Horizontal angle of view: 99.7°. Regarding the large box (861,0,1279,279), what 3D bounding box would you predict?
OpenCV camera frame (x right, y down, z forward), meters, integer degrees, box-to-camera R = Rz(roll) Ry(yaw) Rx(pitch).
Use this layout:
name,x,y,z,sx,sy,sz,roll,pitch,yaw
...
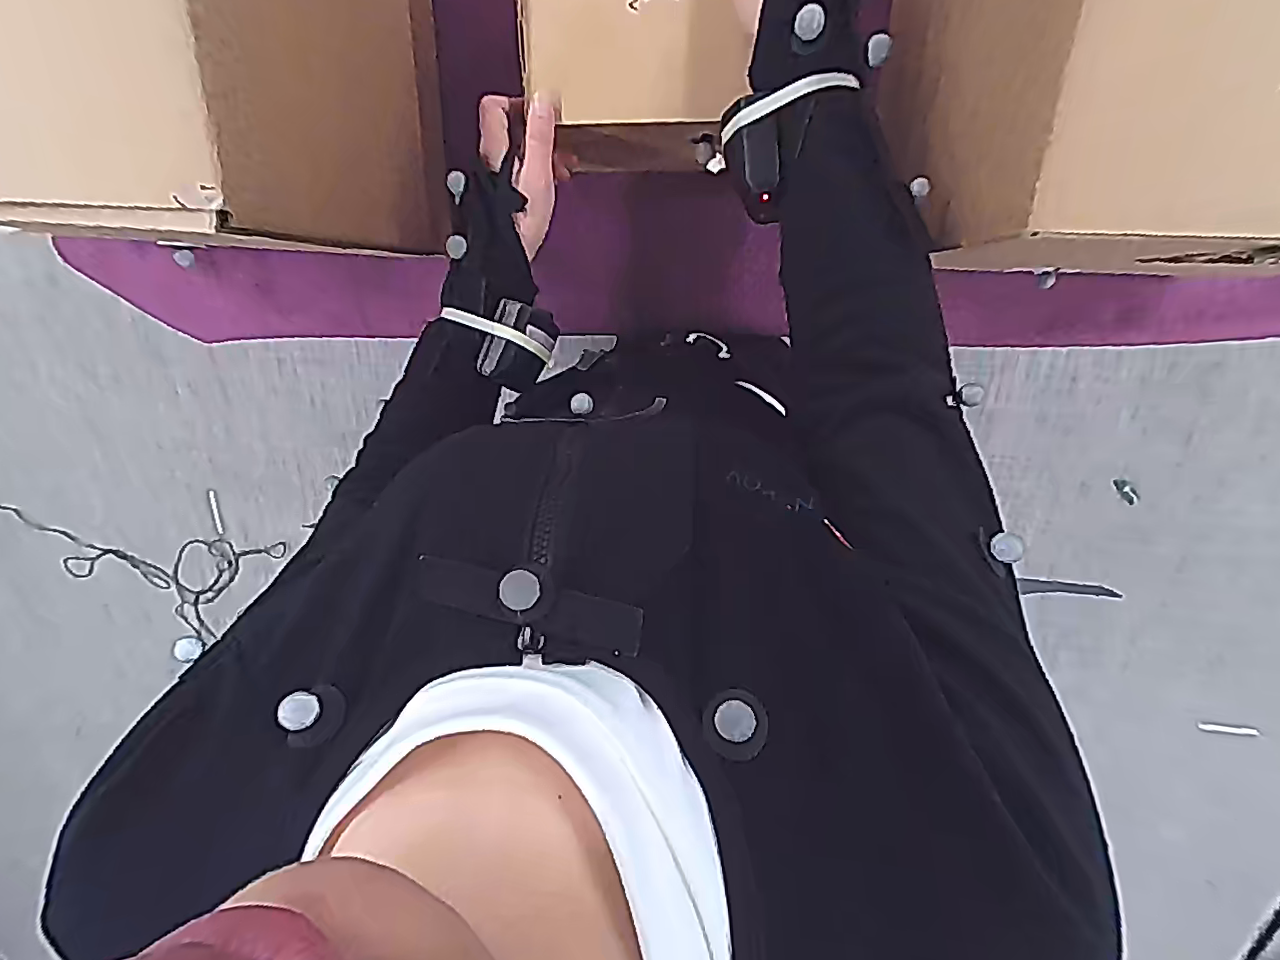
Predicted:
name,x,y,z,sx,sy,sz,roll,pitch,yaw
large box,0.349,-0.336,0.311,0.320,0.320,0.408,3,109,4
